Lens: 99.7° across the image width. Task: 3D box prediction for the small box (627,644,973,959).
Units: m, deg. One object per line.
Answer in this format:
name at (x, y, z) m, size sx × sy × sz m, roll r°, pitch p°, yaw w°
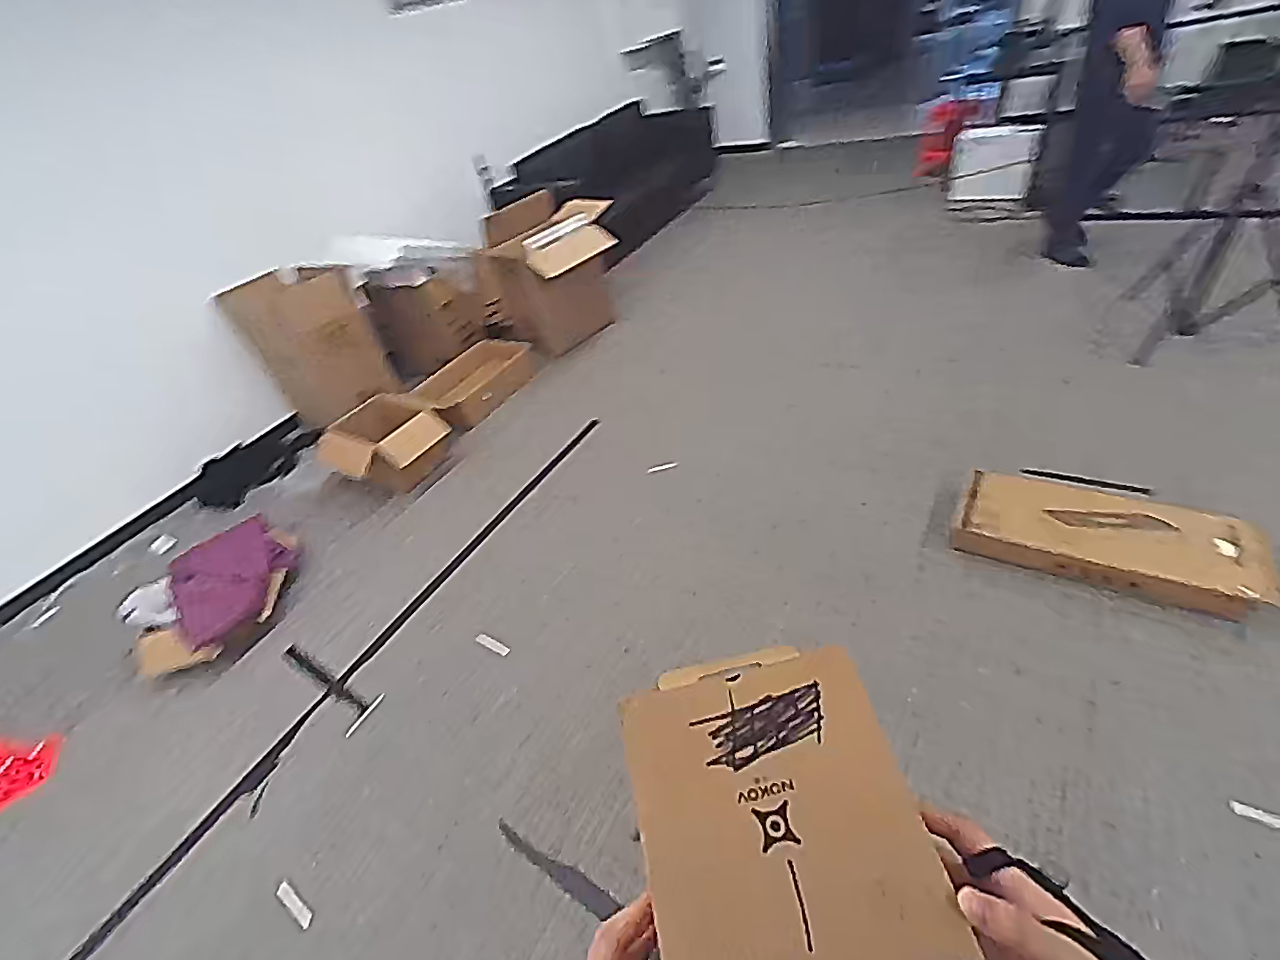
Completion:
small box at (0.093, 0.249, 0.397) m, size 0.168 × 0.176 × 0.179 m, roll -13°, pitch 51°, yaw 0°
